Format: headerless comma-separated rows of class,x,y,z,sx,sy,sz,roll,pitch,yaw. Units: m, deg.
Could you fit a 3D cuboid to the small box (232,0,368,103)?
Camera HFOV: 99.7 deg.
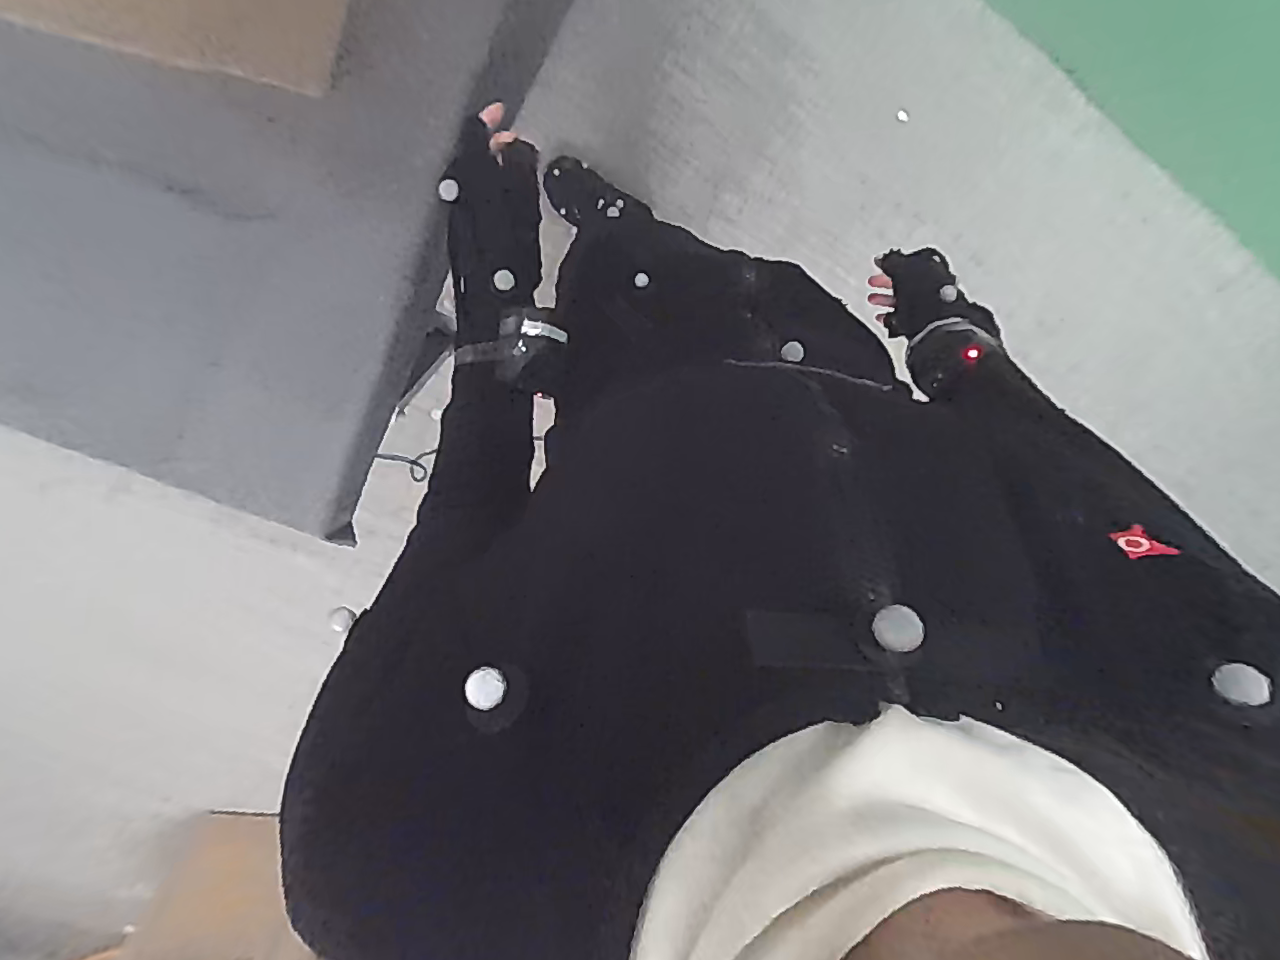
small box,-0.302,-0.405,0.376,0.168,0.176,0.179,22,114,-14
